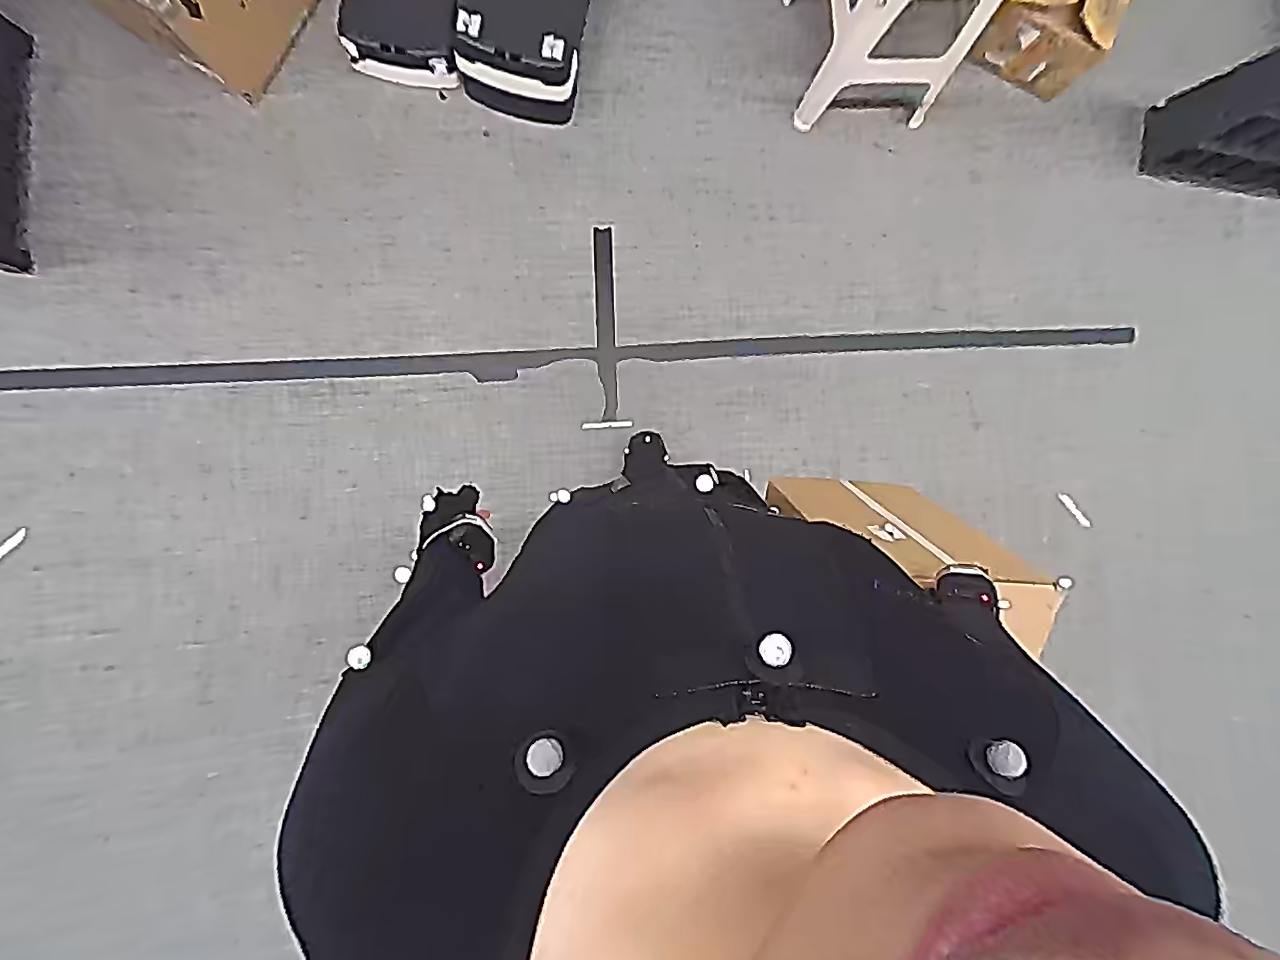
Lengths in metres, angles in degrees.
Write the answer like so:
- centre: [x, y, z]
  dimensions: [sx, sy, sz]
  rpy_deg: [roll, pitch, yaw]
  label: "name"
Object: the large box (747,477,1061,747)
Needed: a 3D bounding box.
- centre: [0.424, 0.216, 0.996]
  dimensions: [0.320, 0.408, 0.320]
  rpy_deg: [3, 111, -7]
  label: "large box"
